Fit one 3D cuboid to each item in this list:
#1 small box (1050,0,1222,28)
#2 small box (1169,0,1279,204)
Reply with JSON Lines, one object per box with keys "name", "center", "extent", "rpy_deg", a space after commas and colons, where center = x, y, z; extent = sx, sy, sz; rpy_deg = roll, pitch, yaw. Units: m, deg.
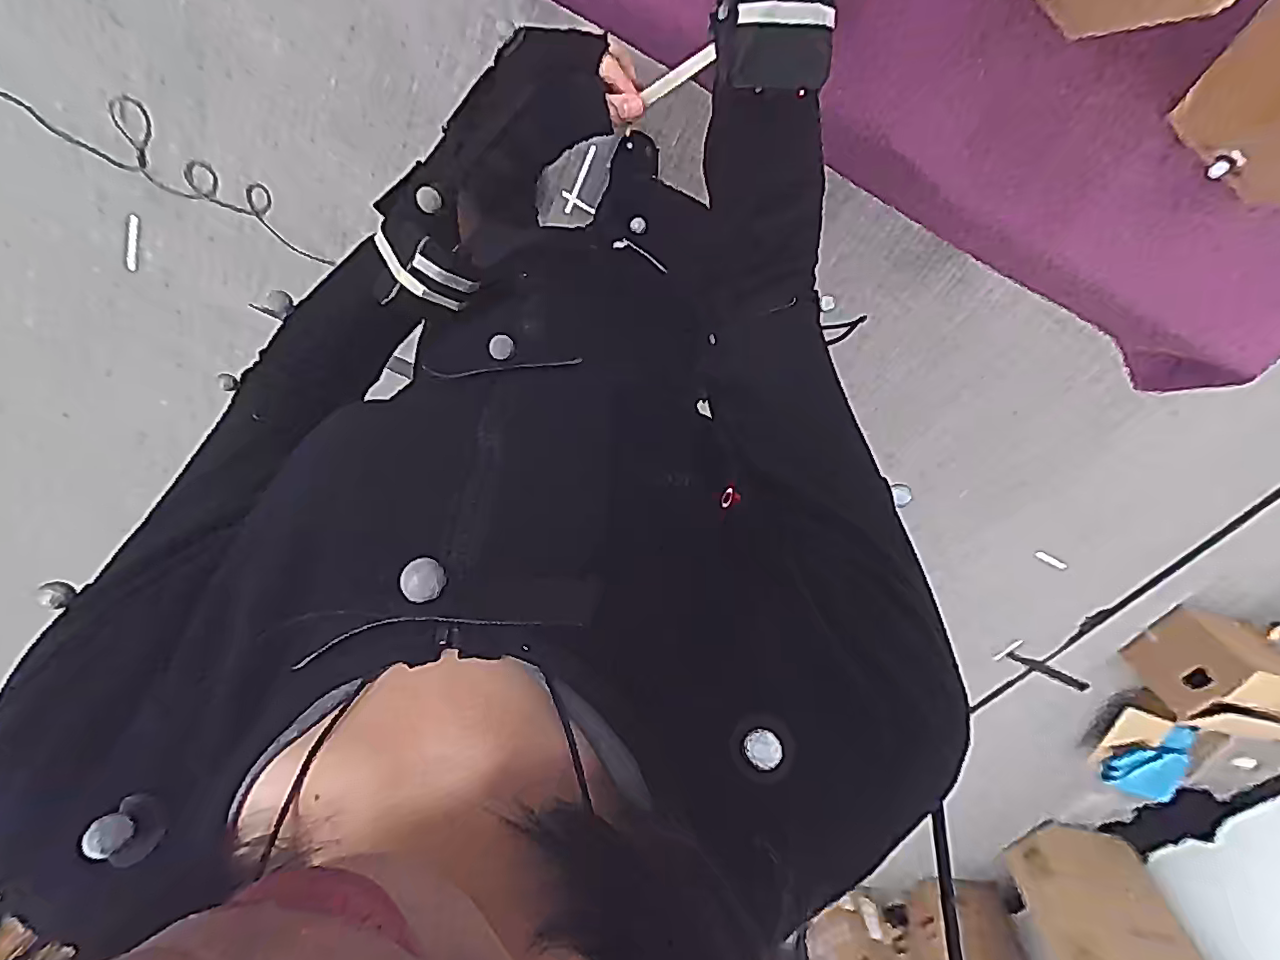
{"name": "small box", "center": [0.414, -0.496, 0.410], "extent": [0.168, 0.176, 0.179], "rpy_deg": [28, 117, -19]}
{"name": "small box", "center": [0.676, -0.377, 0.501], "extent": [0.168, 0.176, 0.179], "rpy_deg": [24, 120, -15]}
